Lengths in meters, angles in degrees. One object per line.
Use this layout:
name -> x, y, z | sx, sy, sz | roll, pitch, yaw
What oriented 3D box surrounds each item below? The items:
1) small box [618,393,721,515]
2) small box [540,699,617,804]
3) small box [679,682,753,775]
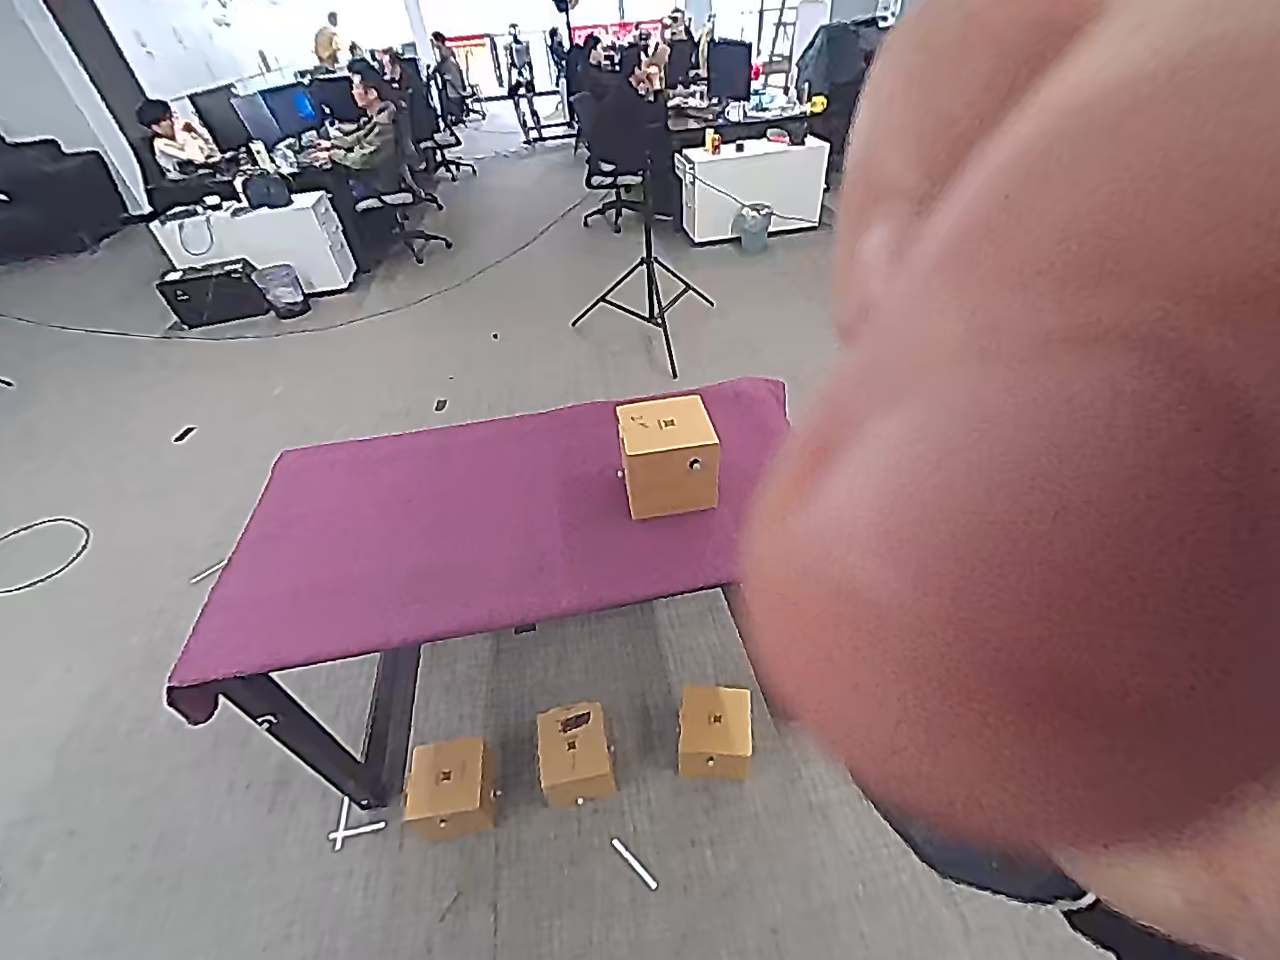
small box -> 0.056, -0.050, 1.087 | 0.179, 0.176, 0.168 | -9, 42, -3
small box -> -0.156, 0.693, 1.380 | 0.168, 0.176, 0.179 | -11, 44, -5
small box -> 0.197, 0.645, 1.398 | 0.179, 0.176, 0.168 | 1, 43, 9
